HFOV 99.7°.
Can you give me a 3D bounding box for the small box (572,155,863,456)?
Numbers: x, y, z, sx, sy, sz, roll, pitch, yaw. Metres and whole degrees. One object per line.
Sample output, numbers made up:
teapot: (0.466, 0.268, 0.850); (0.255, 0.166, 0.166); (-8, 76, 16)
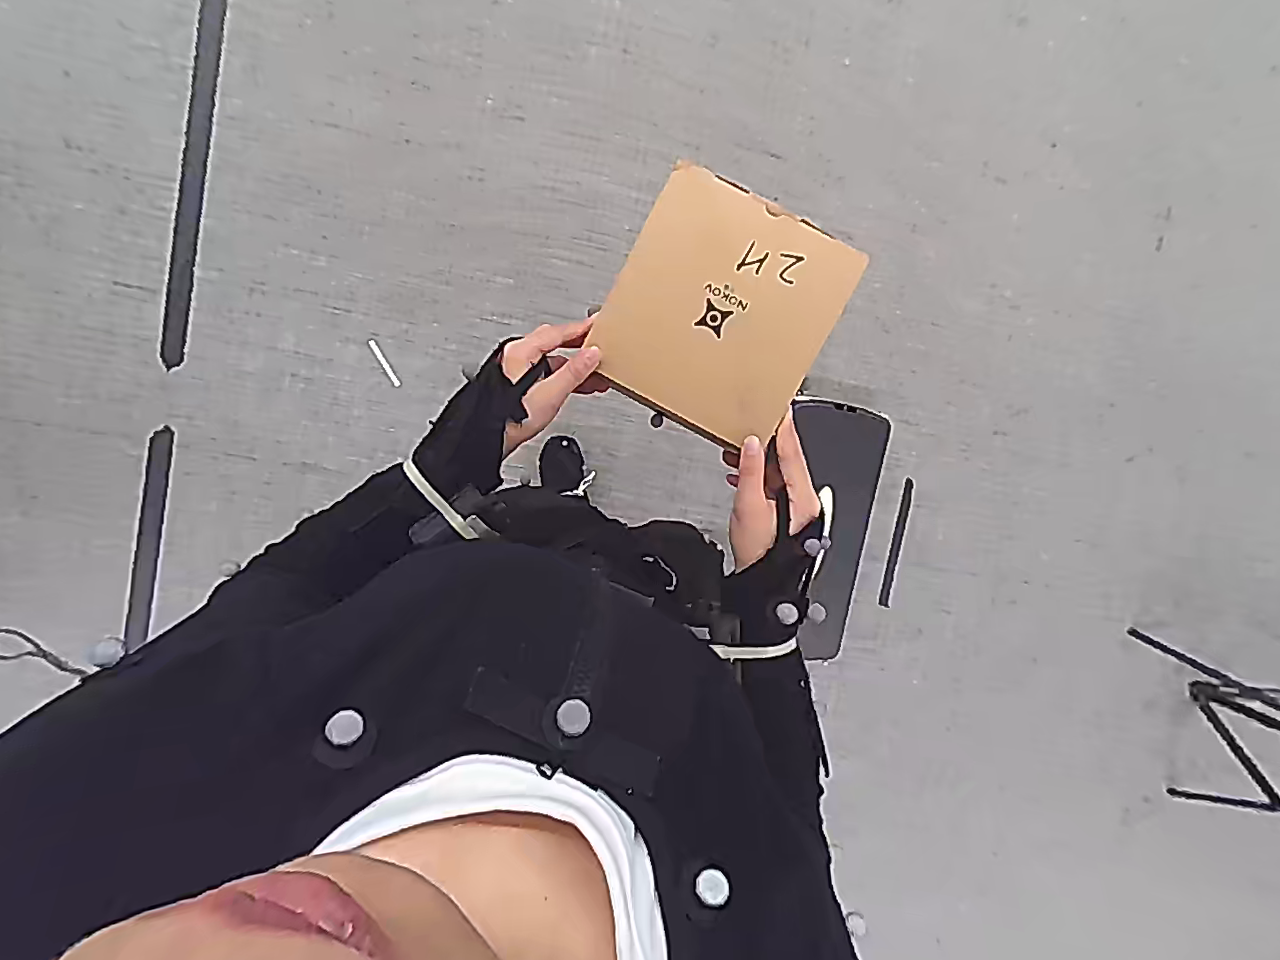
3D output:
small box: (0.062, -0.136, 0.489); (0.168, 0.176, 0.179); (28, 94, 0)
